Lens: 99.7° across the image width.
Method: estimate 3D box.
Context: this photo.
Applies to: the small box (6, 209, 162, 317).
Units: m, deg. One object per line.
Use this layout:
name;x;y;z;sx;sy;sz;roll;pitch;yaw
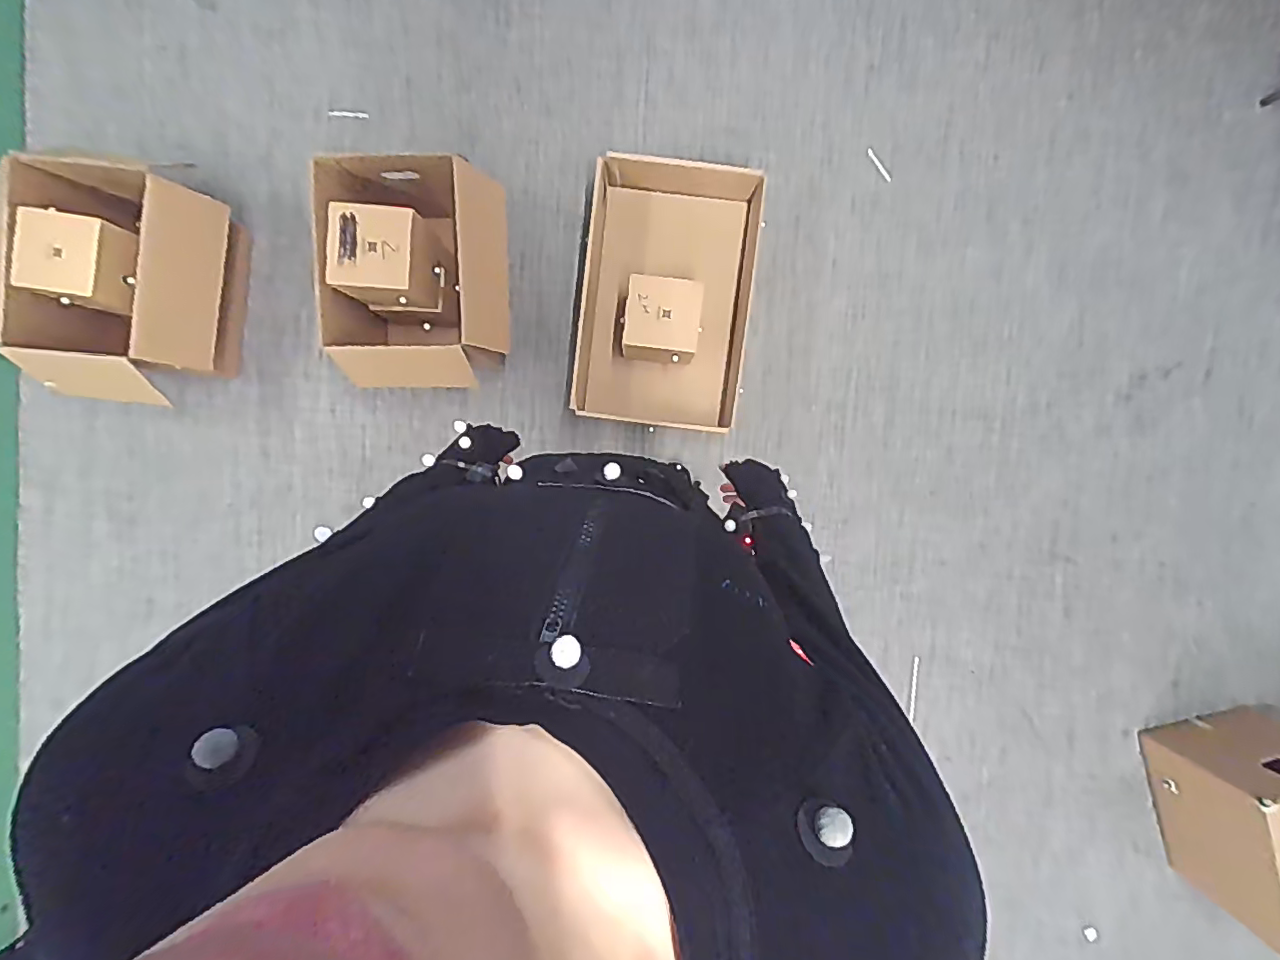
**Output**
small box;-1.218;-0.470;1.197;0.179;0.176;0.168;8;92;-1
